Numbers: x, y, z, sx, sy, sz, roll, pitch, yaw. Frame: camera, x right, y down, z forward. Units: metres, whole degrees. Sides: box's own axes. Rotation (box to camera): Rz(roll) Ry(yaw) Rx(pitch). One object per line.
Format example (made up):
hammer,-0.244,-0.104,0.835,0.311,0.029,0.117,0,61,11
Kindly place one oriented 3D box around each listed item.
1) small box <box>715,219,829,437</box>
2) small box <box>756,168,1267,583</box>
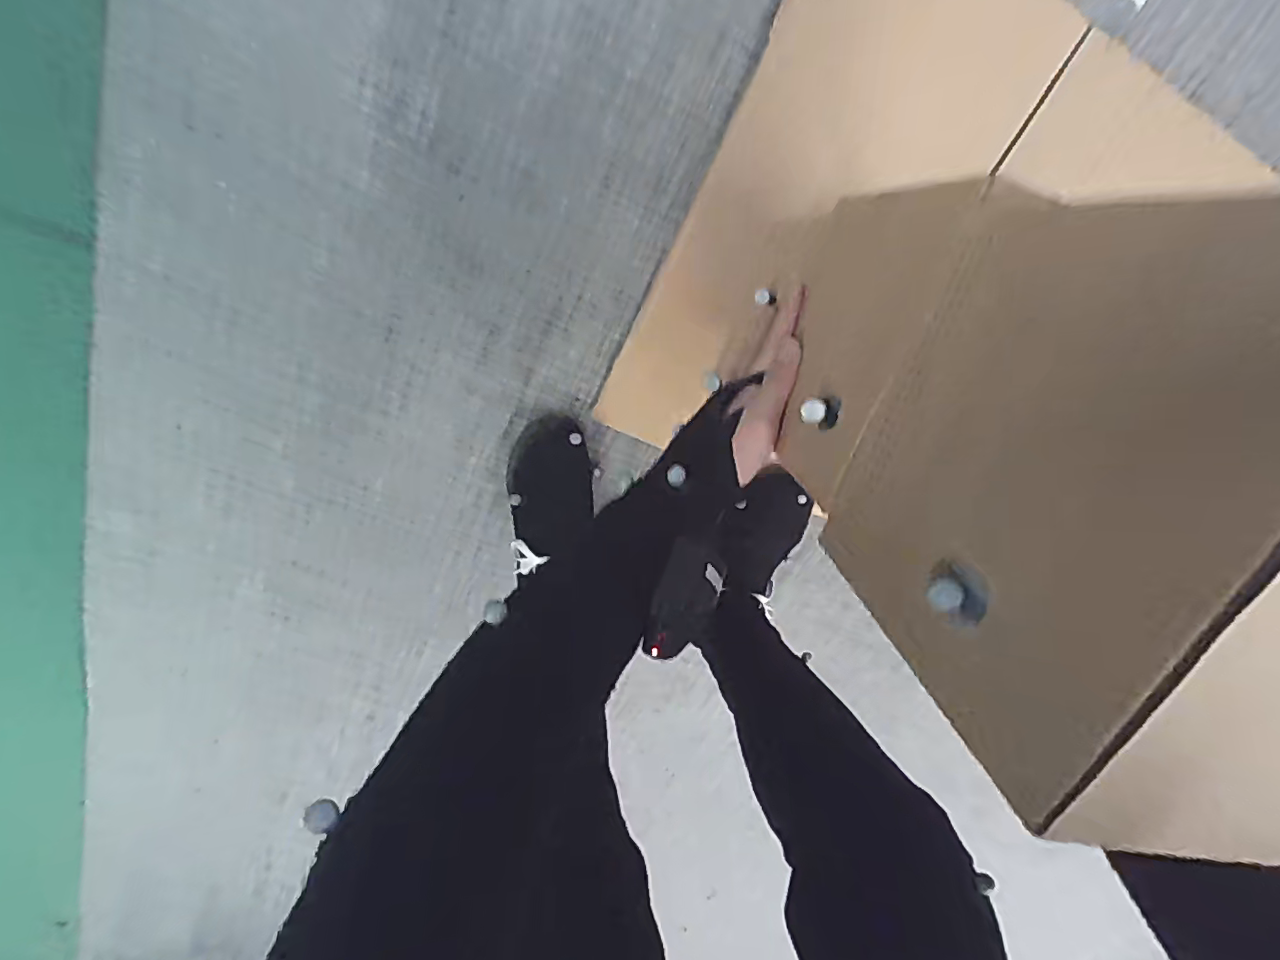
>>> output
small box,0.182,-0.128,0.500,0.168,0.176,0.179,14,112,-10
small box,0.191,-0.067,0.346,0.168,0.176,0.179,15,111,-12
